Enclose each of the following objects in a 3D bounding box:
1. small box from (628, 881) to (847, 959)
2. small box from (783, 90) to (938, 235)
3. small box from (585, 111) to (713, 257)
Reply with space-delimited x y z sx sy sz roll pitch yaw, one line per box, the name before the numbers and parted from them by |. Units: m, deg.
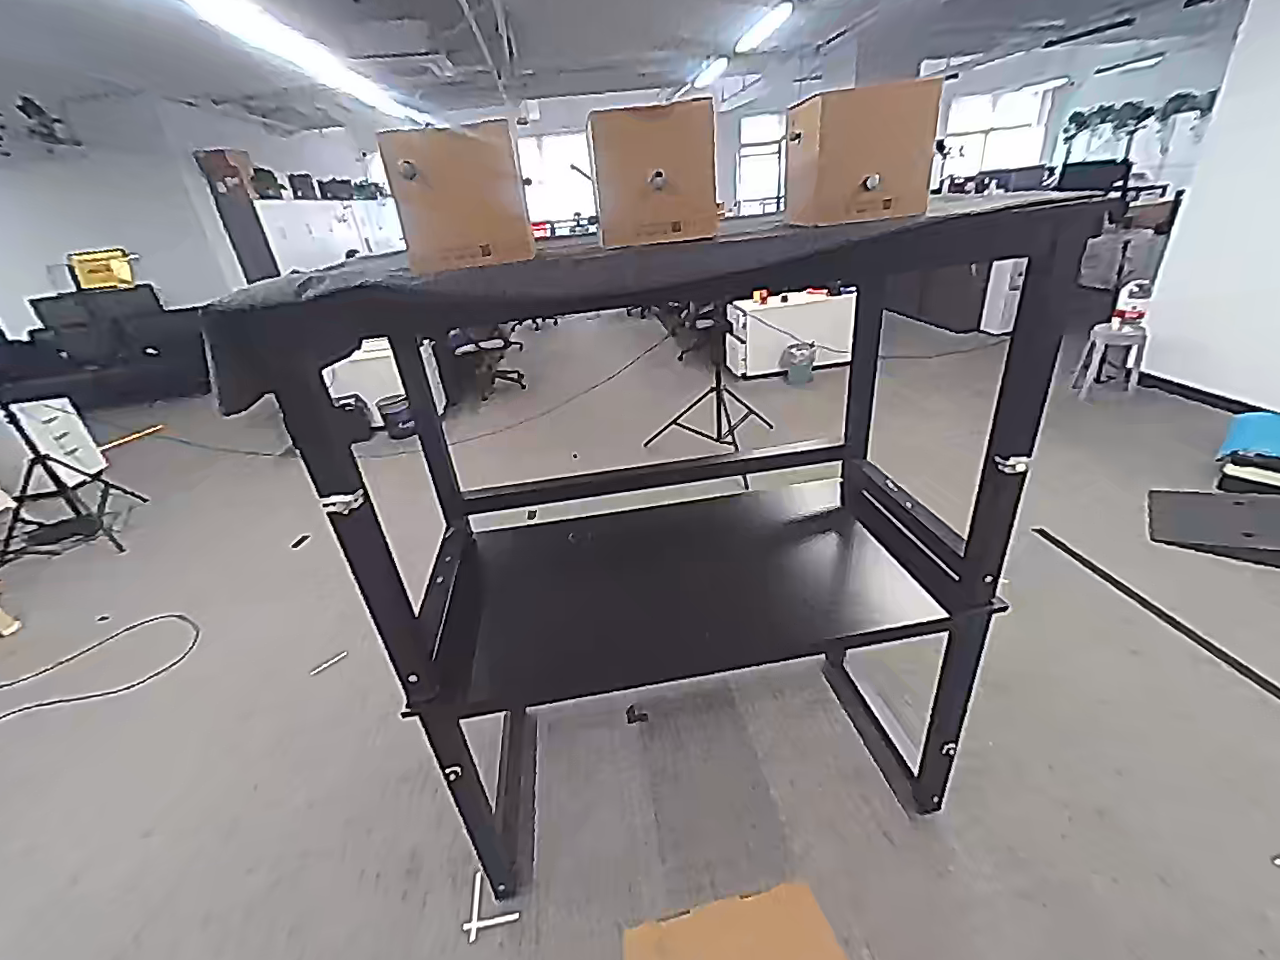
small box | 0.090 0.451 0.390 0.168 0.176 0.179 -11 4 -6
small box | 0.321 -0.476 0.831 0.168 0.176 0.179 -6 27 1
small box | 0.011 -0.433 0.811 0.168 0.176 0.179 -7 26 -5
